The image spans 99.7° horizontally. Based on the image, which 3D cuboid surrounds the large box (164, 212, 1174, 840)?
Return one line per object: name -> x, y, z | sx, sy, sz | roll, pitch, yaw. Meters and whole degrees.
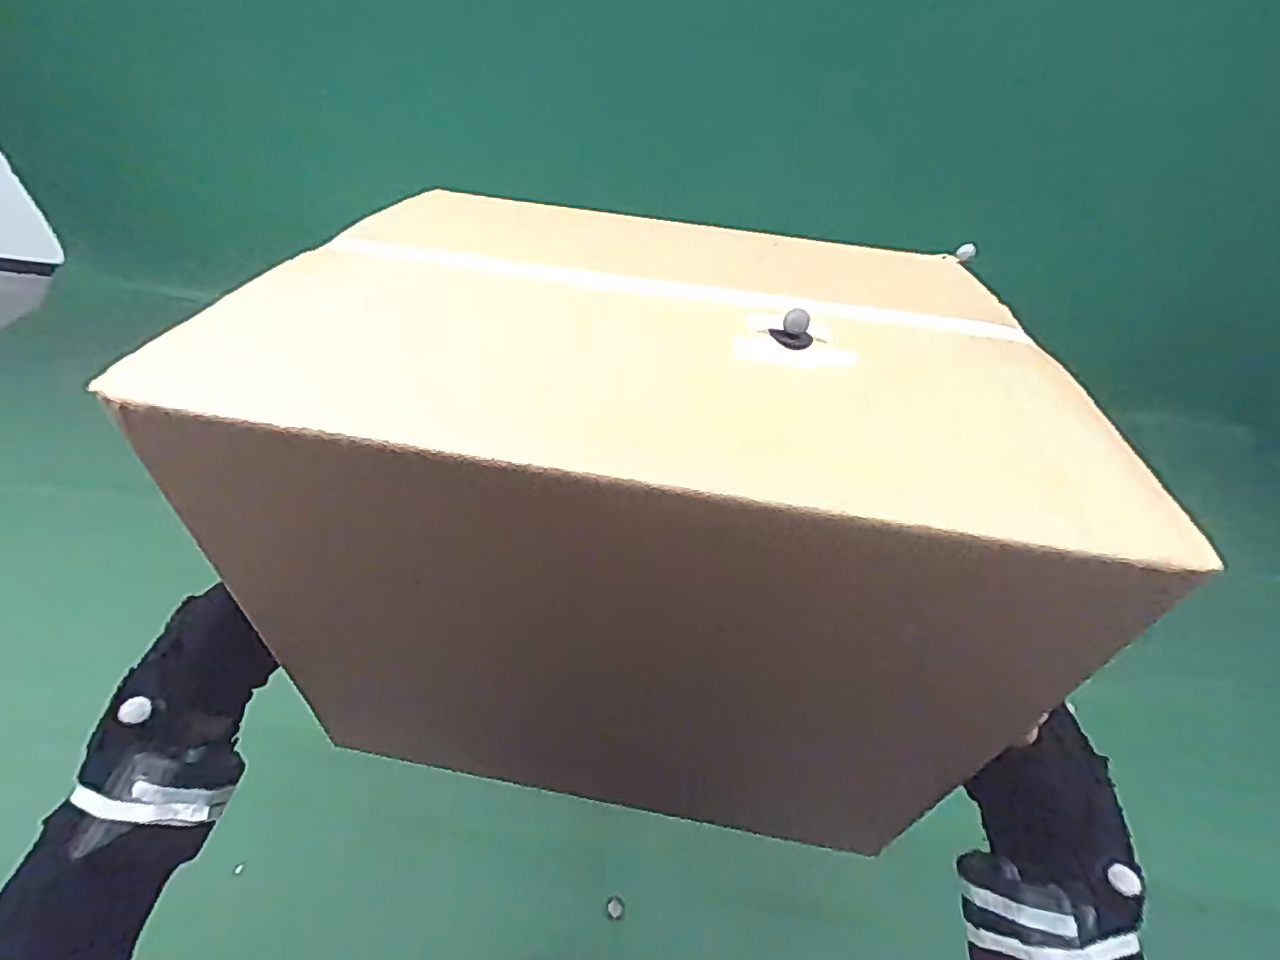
large box -> 0.009, 0.019, 0.414 | 0.408, 0.320, 0.320 | 10, 41, 4
